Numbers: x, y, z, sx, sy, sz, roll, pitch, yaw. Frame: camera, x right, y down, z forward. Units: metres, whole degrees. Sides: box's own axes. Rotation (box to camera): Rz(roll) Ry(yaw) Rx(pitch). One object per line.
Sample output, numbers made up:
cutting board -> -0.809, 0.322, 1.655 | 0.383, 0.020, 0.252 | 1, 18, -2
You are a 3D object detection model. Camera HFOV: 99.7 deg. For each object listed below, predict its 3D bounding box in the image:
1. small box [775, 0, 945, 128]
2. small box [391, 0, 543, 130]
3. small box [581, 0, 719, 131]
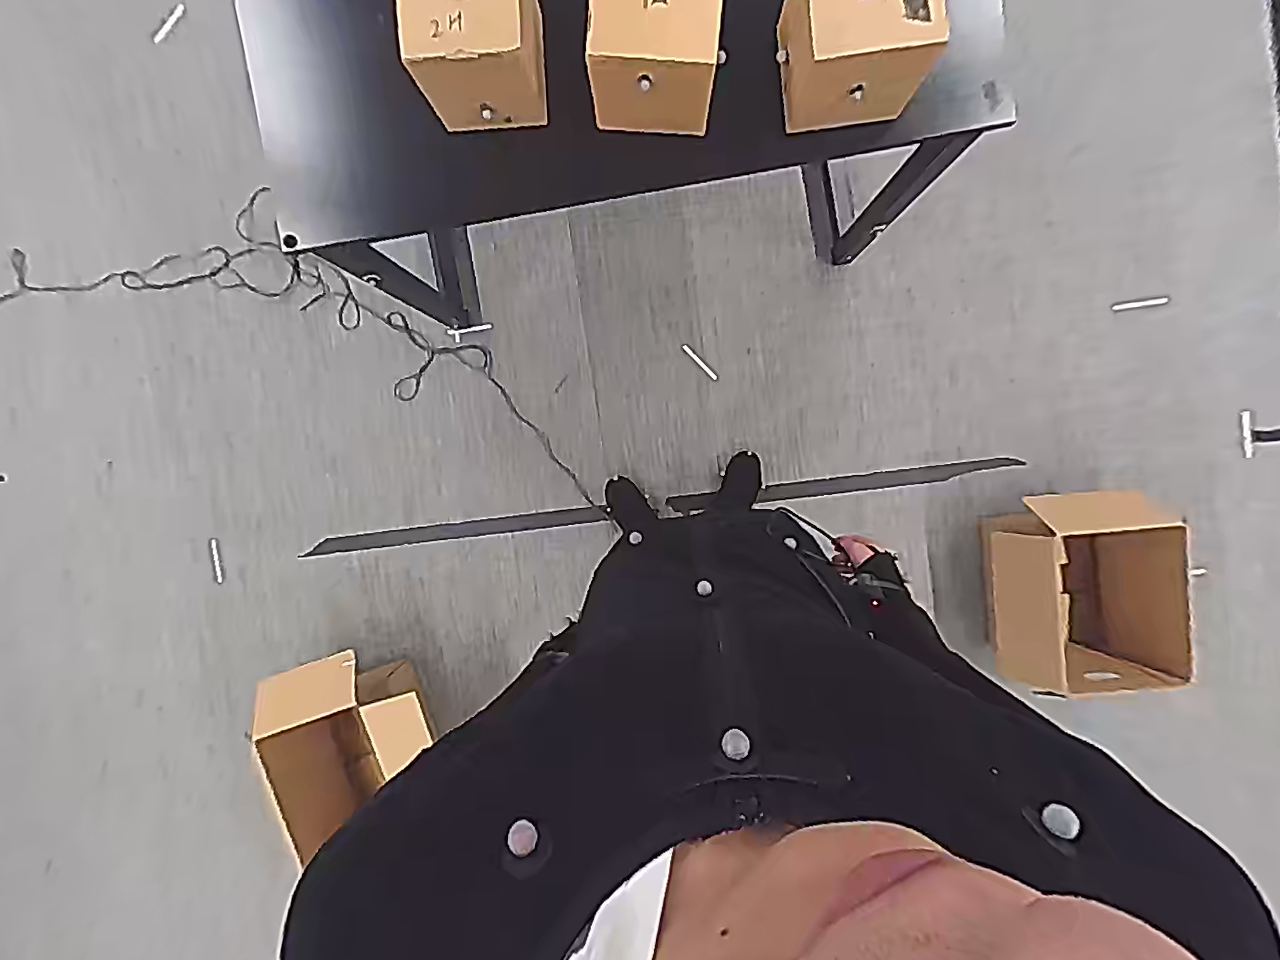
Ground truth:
small box -> 0.300, -0.638, 0.767 | 0.179, 0.176, 0.168 | -6, 93, 4
small box -> -0.243, -0.651, 0.787 | 0.168, 0.176, 0.179 | -3, 94, 3
small box -> 0.020, -0.636, 0.780 | 0.179, 0.176, 0.168 | 5, 93, 3
